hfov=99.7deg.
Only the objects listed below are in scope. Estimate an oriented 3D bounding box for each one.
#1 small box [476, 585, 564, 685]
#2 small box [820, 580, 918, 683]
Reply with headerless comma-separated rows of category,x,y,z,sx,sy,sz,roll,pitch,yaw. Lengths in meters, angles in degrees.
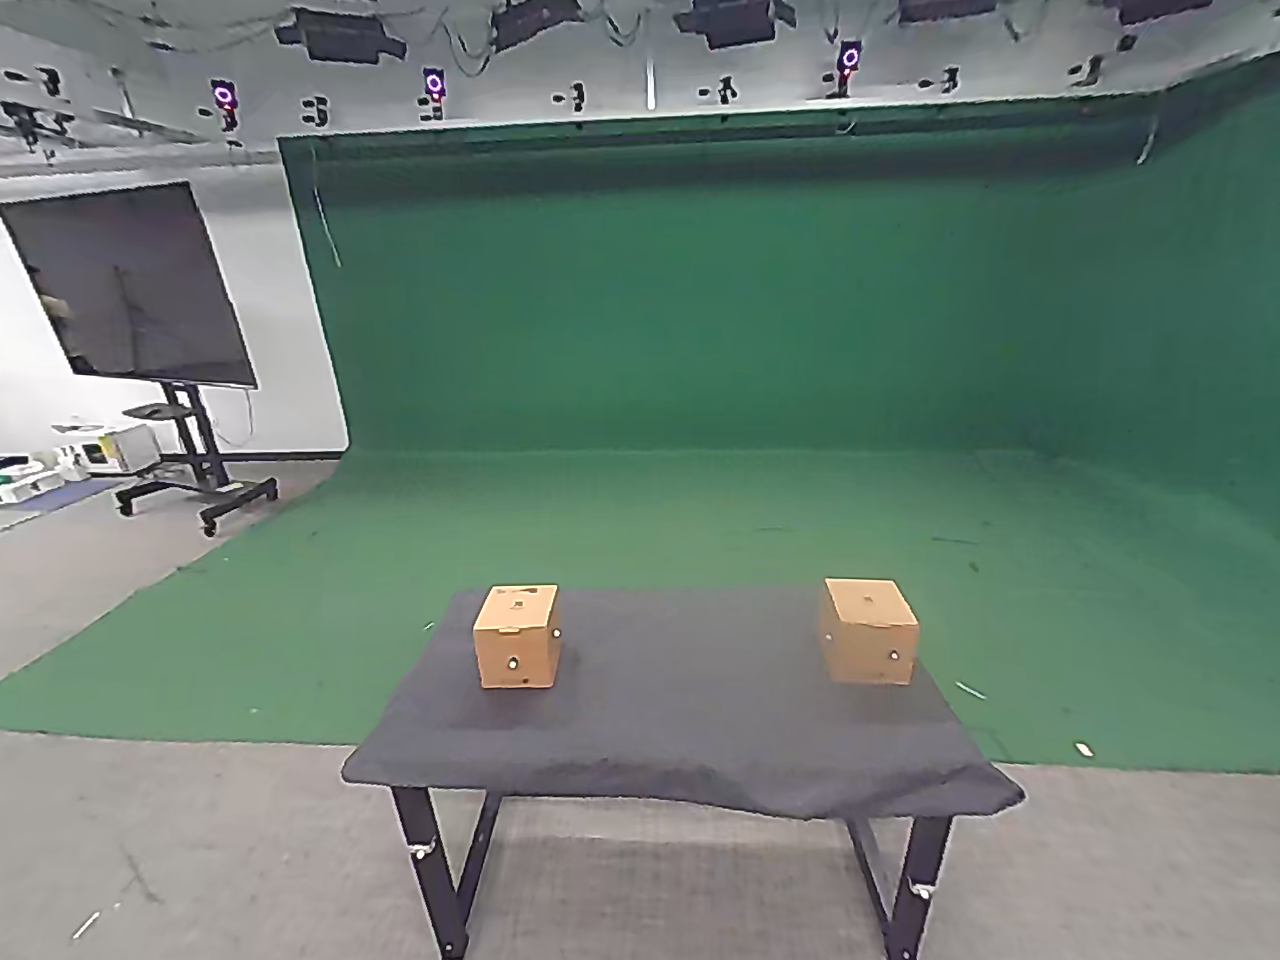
small box,-0.279,0.373,1.299,0.168,0.176,0.179,-1,22,1
small box,0.528,0.354,1.270,0.168,0.176,0.179,1,21,5
